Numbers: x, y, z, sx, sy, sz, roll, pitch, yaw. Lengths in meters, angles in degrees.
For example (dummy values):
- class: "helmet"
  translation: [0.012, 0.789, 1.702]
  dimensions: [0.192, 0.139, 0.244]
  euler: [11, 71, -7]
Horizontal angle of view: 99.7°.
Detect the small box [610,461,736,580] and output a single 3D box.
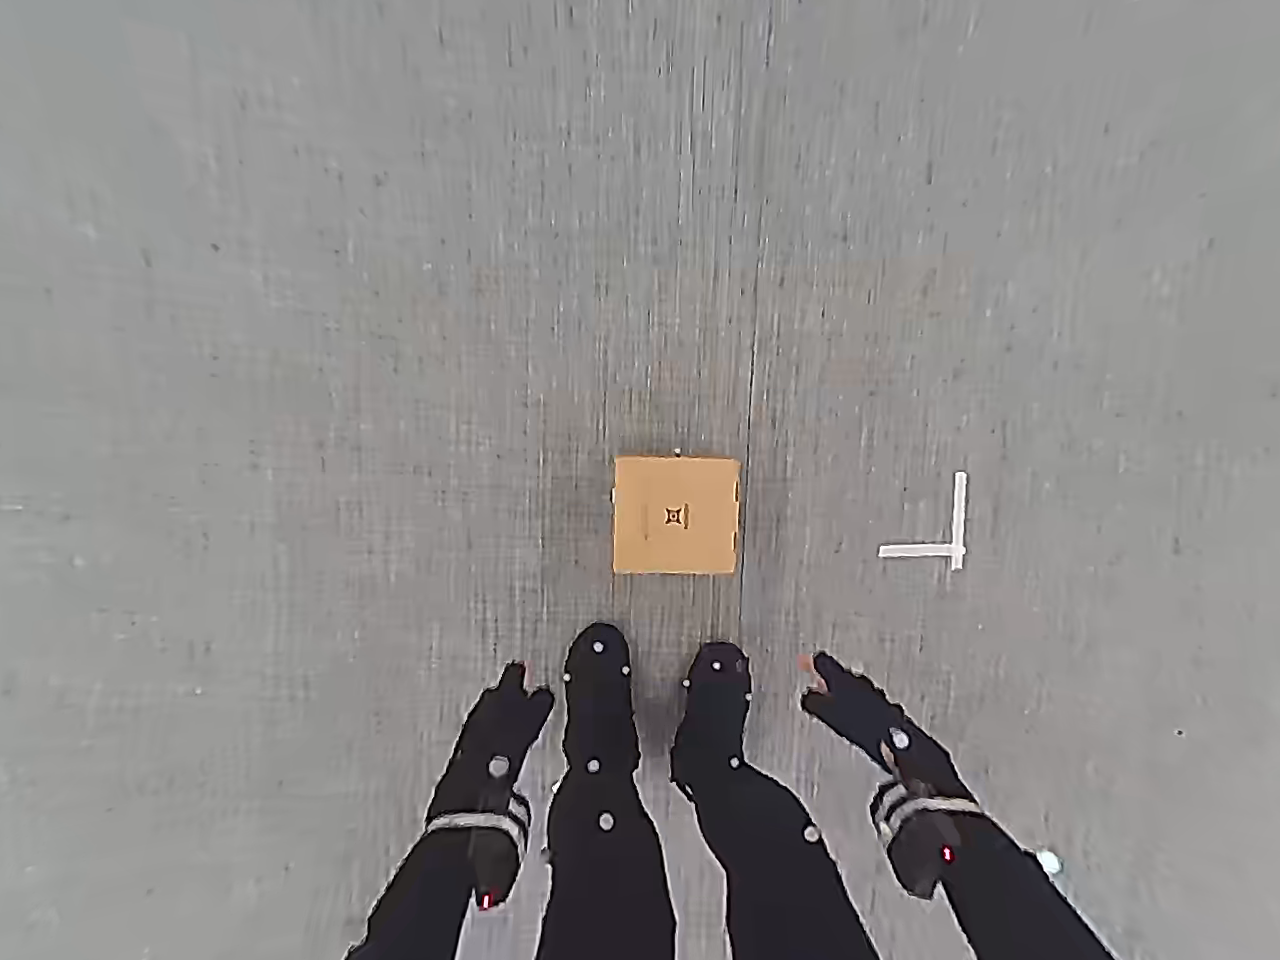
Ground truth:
- class: "small box"
  translation: [0.043, 0.056, 0.846]
  dimensions: [0.179, 0.176, 0.168]
  euler: [1, 93, -3]
